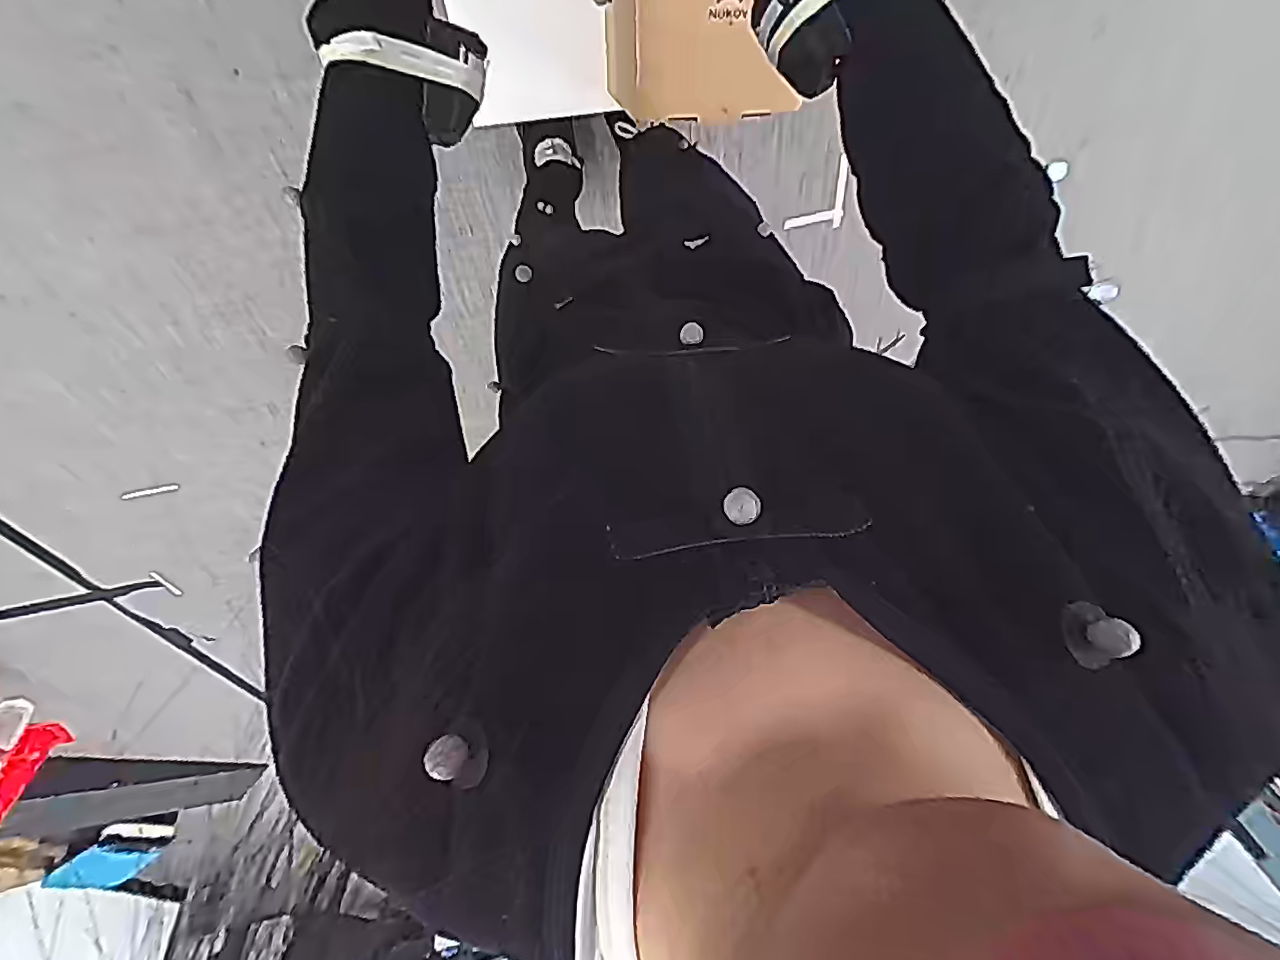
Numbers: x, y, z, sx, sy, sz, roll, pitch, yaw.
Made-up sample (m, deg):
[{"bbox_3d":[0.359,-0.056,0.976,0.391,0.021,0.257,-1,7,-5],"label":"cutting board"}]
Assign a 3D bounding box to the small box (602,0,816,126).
[{"bbox_3d":[0.058,-0.463,0.516,0.168,0.176,0.179,-9,136,-8],"label":"small box"}]
